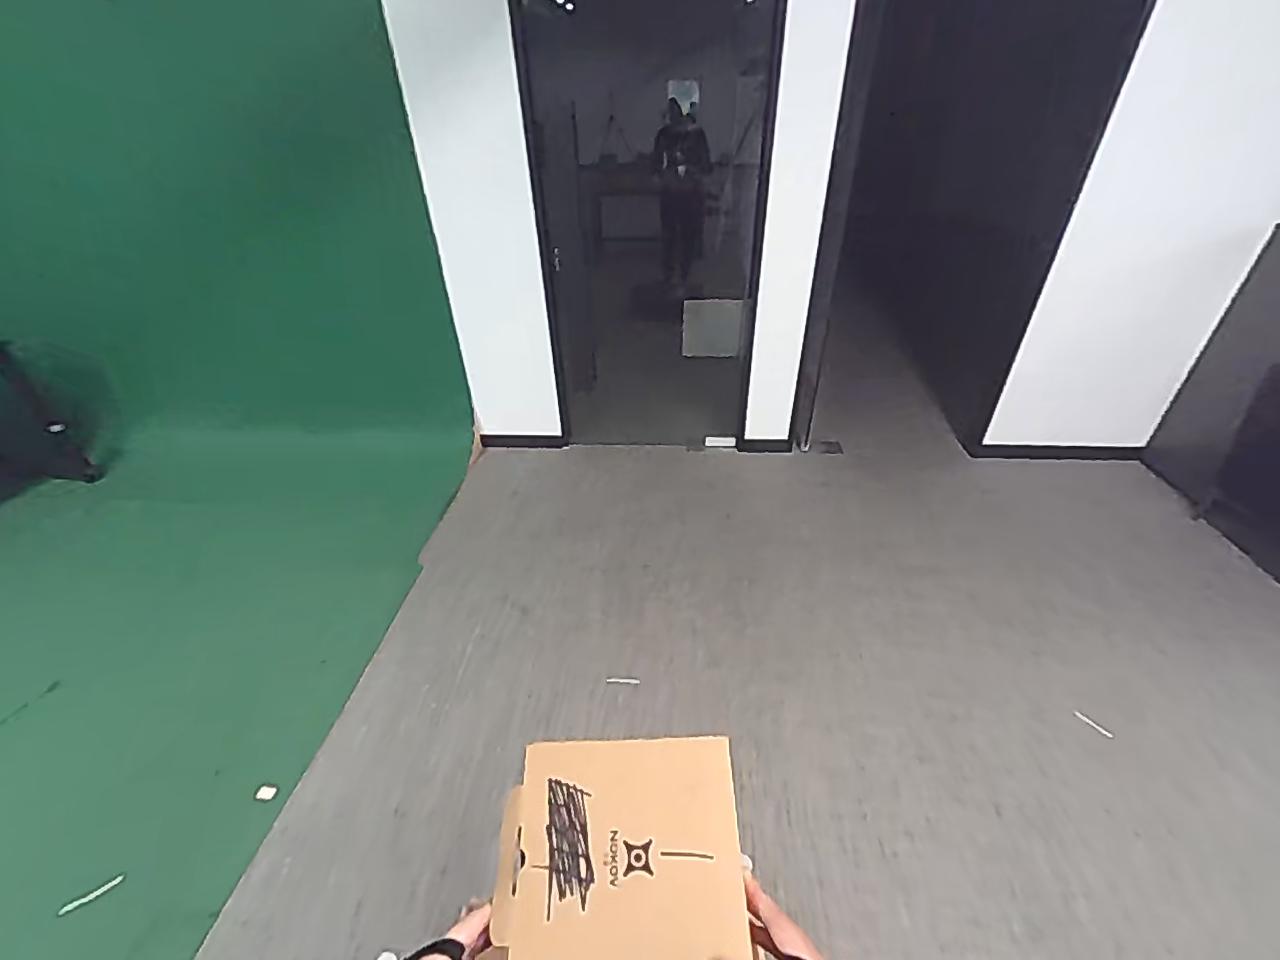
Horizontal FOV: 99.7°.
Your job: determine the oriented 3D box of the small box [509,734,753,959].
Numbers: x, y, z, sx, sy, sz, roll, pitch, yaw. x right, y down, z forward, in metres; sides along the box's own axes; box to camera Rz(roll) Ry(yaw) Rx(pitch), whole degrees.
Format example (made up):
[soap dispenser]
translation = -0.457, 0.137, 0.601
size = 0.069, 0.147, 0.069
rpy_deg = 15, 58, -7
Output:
[small box]
translation = -0.001, 0.335, 0.481
size = 0.179, 0.176, 0.168
rpy_deg = -5, 54, 3
